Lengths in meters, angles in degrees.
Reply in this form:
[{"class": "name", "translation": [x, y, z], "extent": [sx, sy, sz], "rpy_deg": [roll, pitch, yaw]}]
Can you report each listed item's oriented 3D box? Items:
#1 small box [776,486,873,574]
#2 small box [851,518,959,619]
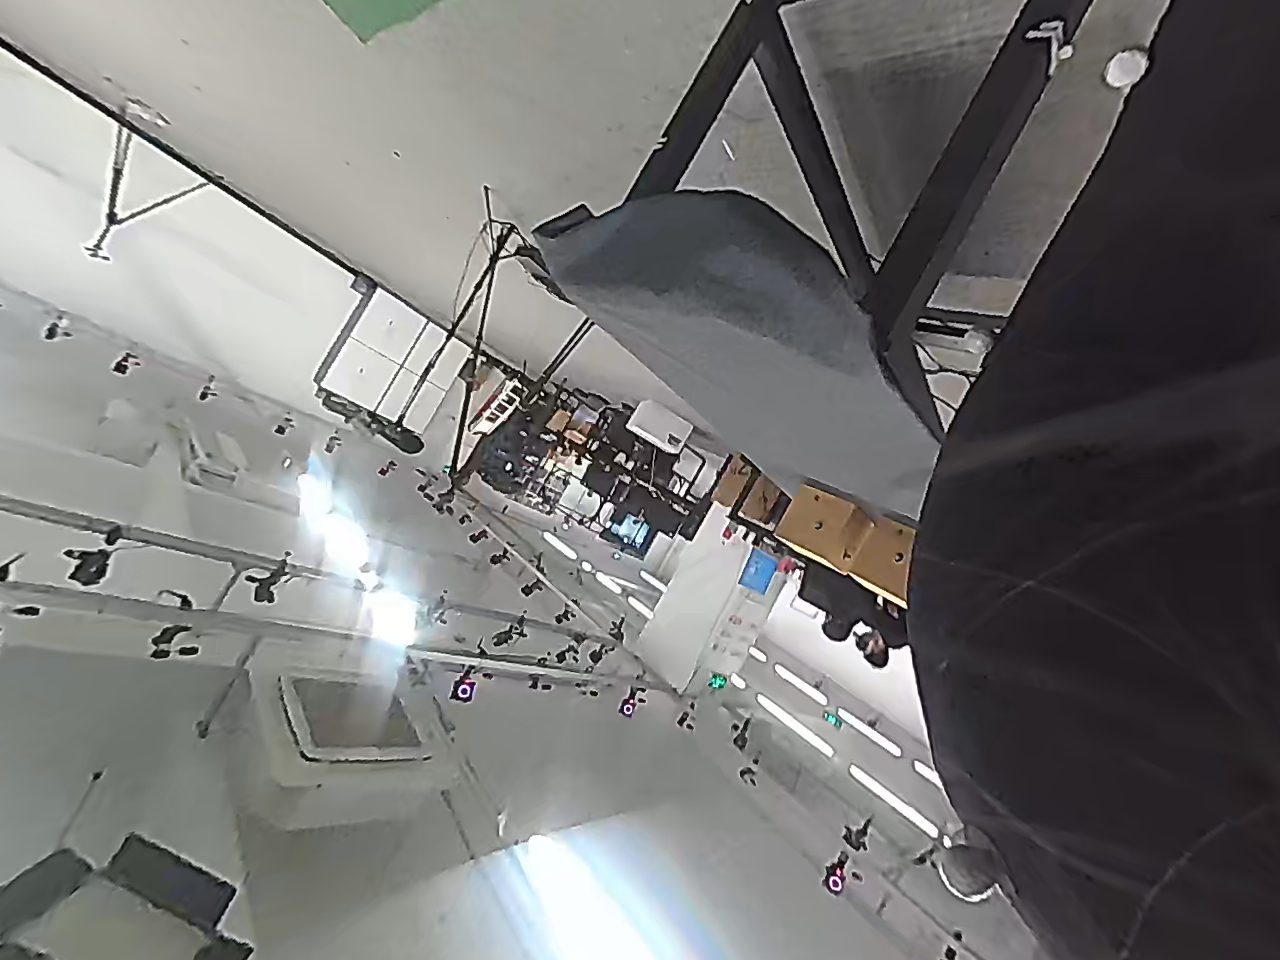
[{"class": "small box", "translation": [0.511, 0.133, 1.486], "extent": [0.168, 0.176, 0.179], "rpy_deg": [27, 178, 44]}, {"class": "small box", "translation": [0.657, 0.215, 1.336], "extent": [0.168, 0.176, 0.179], "rpy_deg": [30, 178, 43]}]
